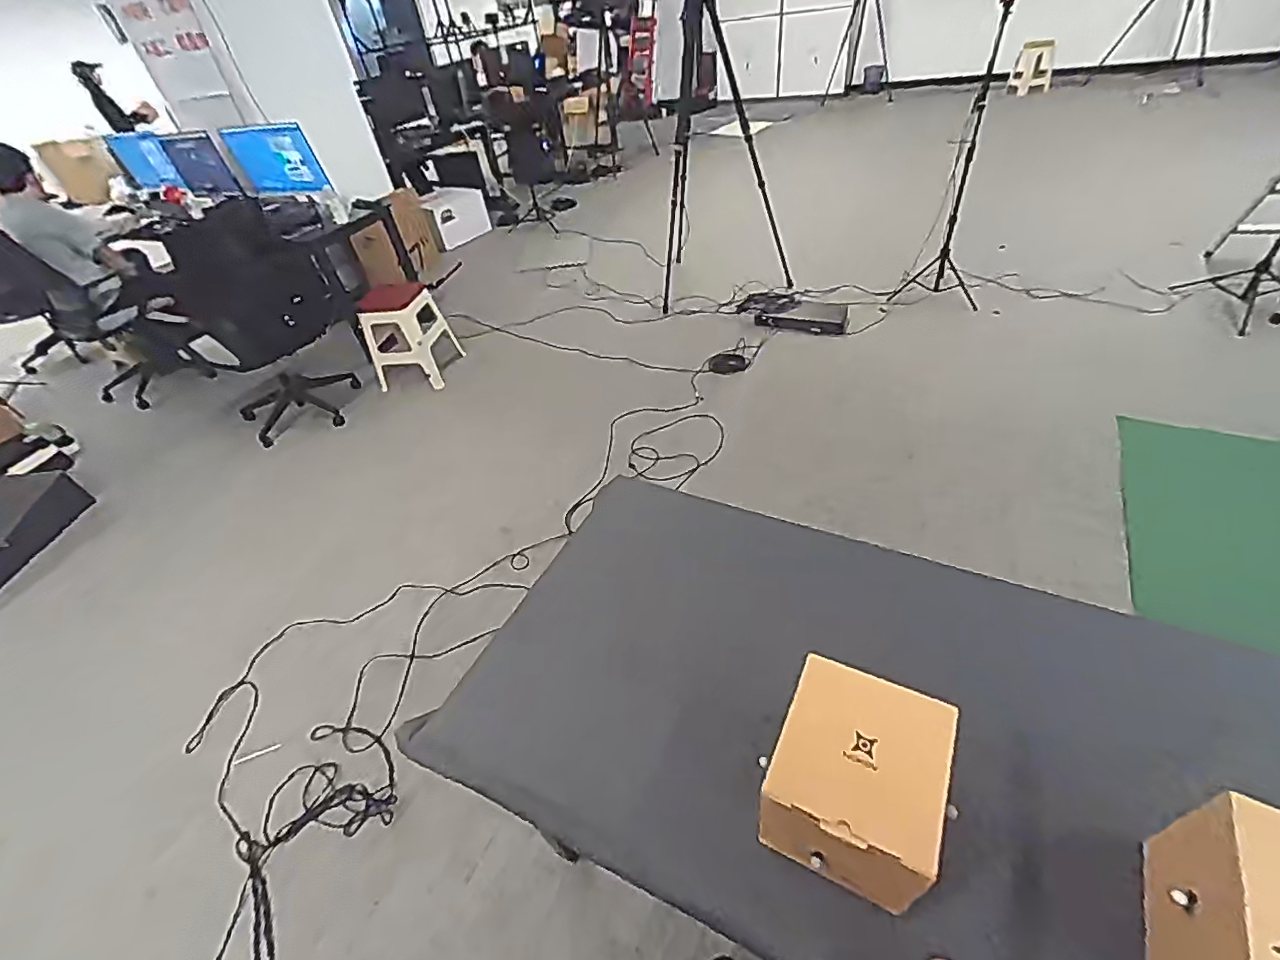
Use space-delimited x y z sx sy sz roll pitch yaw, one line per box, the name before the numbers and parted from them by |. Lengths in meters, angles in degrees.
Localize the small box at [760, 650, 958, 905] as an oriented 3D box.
small box | 0.244 0.339 0.625 0.168 0.176 0.179 17 48 24
